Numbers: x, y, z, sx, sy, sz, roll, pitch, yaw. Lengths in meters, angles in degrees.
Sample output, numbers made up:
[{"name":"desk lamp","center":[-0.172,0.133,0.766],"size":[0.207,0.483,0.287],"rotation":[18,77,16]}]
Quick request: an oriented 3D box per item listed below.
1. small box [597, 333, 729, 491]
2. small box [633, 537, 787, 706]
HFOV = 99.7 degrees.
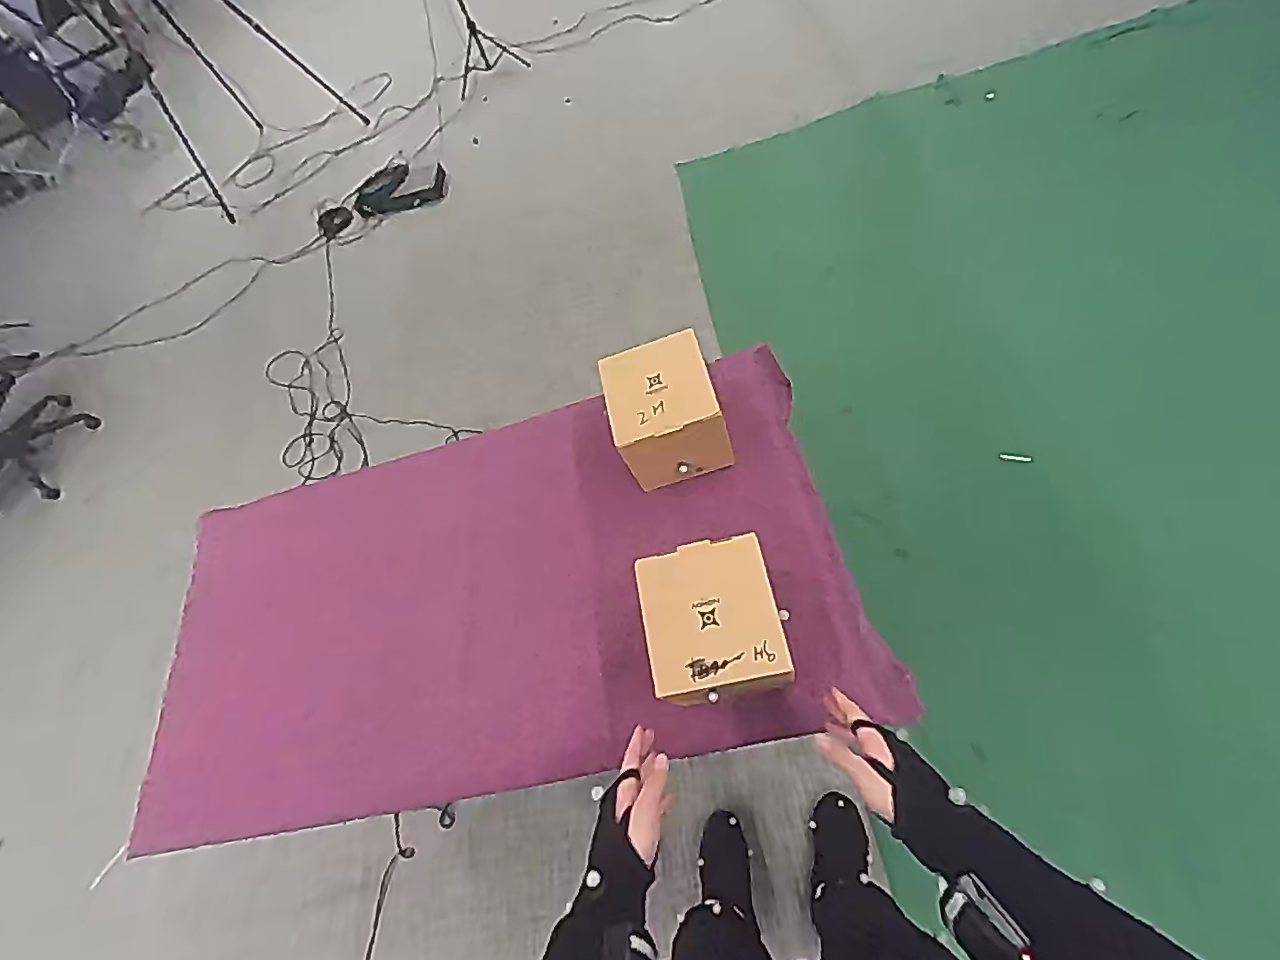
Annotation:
[{"name":"small box","center":[0.041,-0.107,0.910],"size":[0.168,0.176,0.179],"rotation":[-18,62,11]},{"name":"small box","center":[0.099,0.202,0.744],"size":[0.168,0.176,0.179],"rotation":[-15,62,10]}]
